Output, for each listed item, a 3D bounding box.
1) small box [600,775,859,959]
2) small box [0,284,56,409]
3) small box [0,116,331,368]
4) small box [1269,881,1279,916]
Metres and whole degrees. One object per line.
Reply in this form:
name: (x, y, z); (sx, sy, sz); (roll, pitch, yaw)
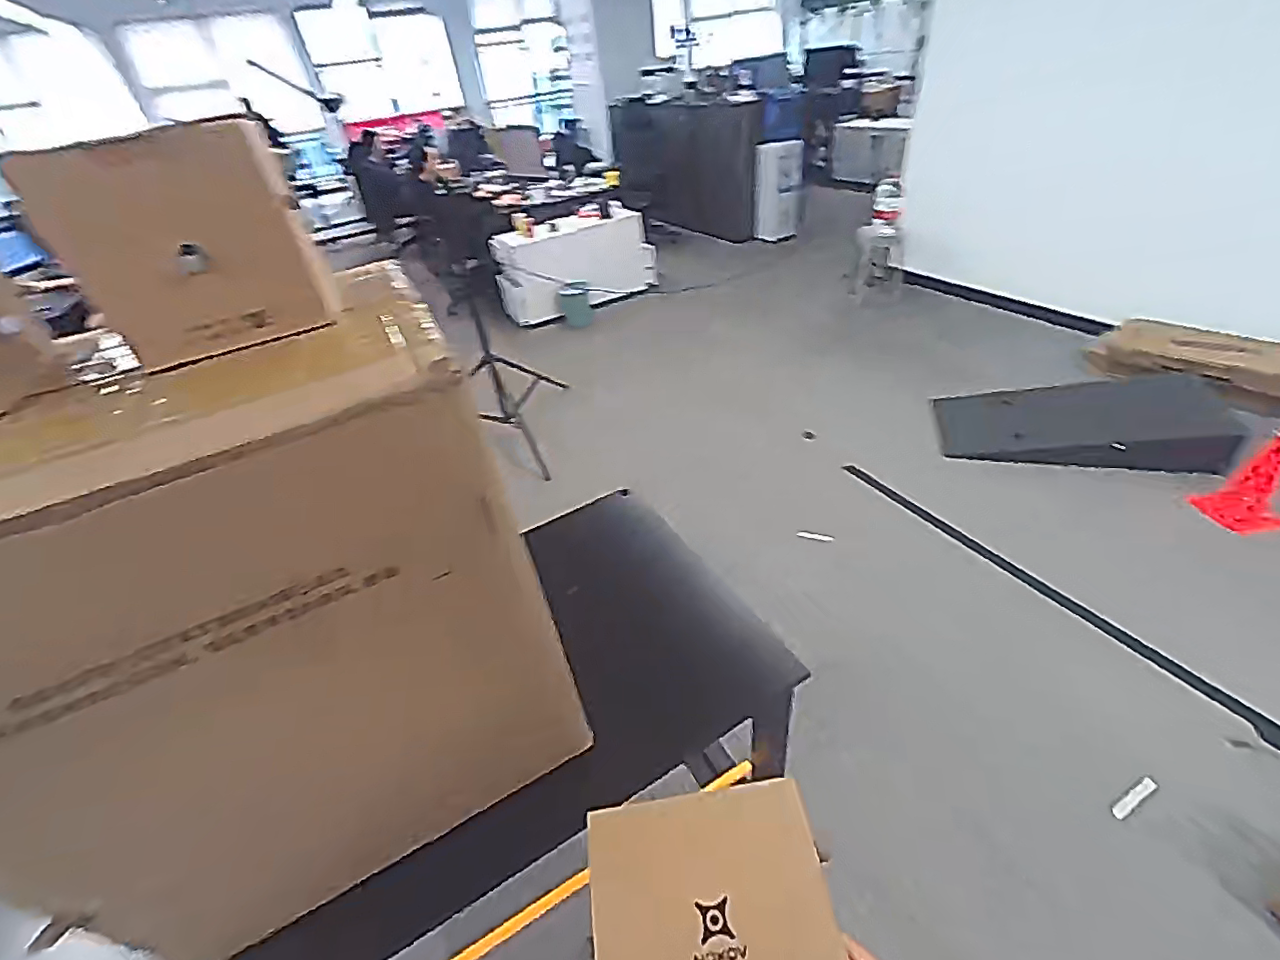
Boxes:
small box: (0.065, 0.357, 0.416); (0.168, 0.176, 0.179); (-9, 45, 0)
small box: (-0.631, -0.119, 0.411); (0.179, 0.176, 0.168); (-23, 39, -21)
small box: (-0.411, -0.221, 0.502); (0.168, 0.176, 0.179); (-24, 39, -18)
small box: (1.399, 0.824, 1.045); (0.179, 0.176, 0.168); (-25, 40, -18)
